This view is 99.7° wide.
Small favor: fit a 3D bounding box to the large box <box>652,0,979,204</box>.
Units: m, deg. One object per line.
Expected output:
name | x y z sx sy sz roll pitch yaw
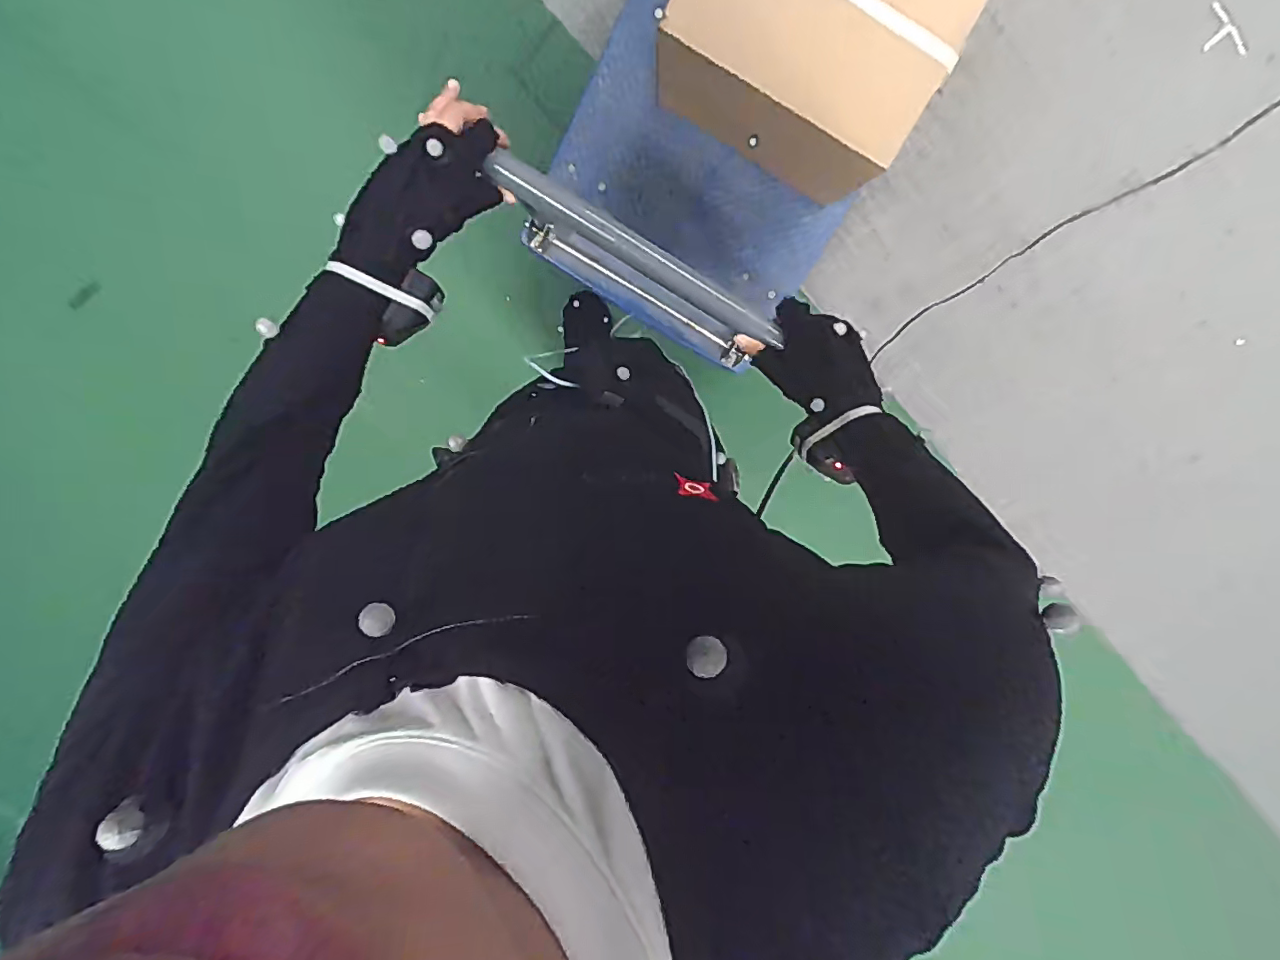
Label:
large box | 0.270 -0.733 0.912 0.408 0.320 0.320 28 105 -6
